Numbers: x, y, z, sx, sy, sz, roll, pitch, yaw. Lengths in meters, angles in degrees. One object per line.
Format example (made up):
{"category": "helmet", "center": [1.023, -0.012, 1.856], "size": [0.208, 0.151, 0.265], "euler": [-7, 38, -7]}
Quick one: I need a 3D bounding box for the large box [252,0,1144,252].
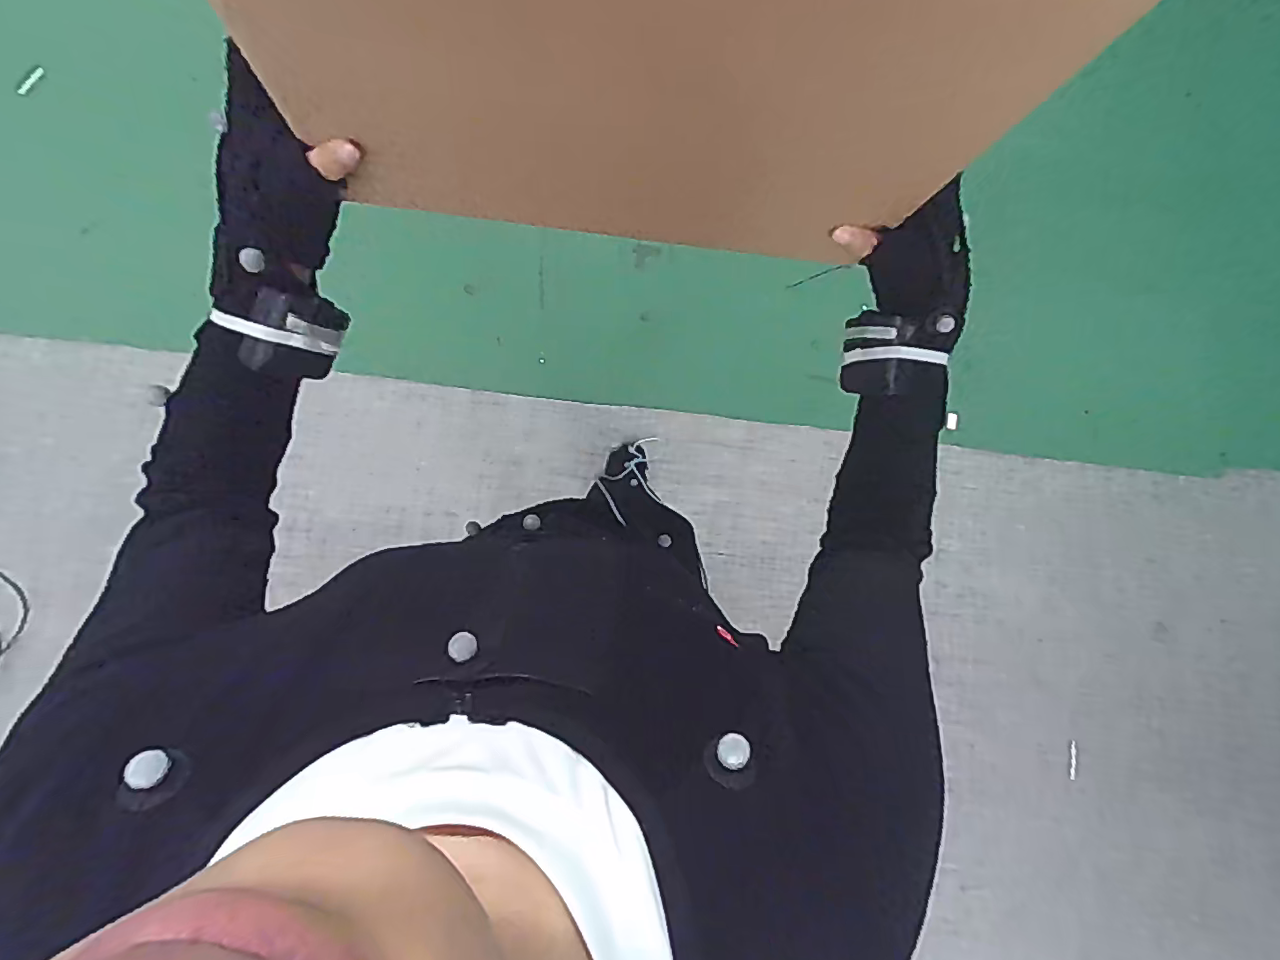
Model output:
{"category": "large box", "center": [0.019, -0.358, 0.289], "size": [0.408, 0.320, 0.320], "euler": [2, 85, -12]}
